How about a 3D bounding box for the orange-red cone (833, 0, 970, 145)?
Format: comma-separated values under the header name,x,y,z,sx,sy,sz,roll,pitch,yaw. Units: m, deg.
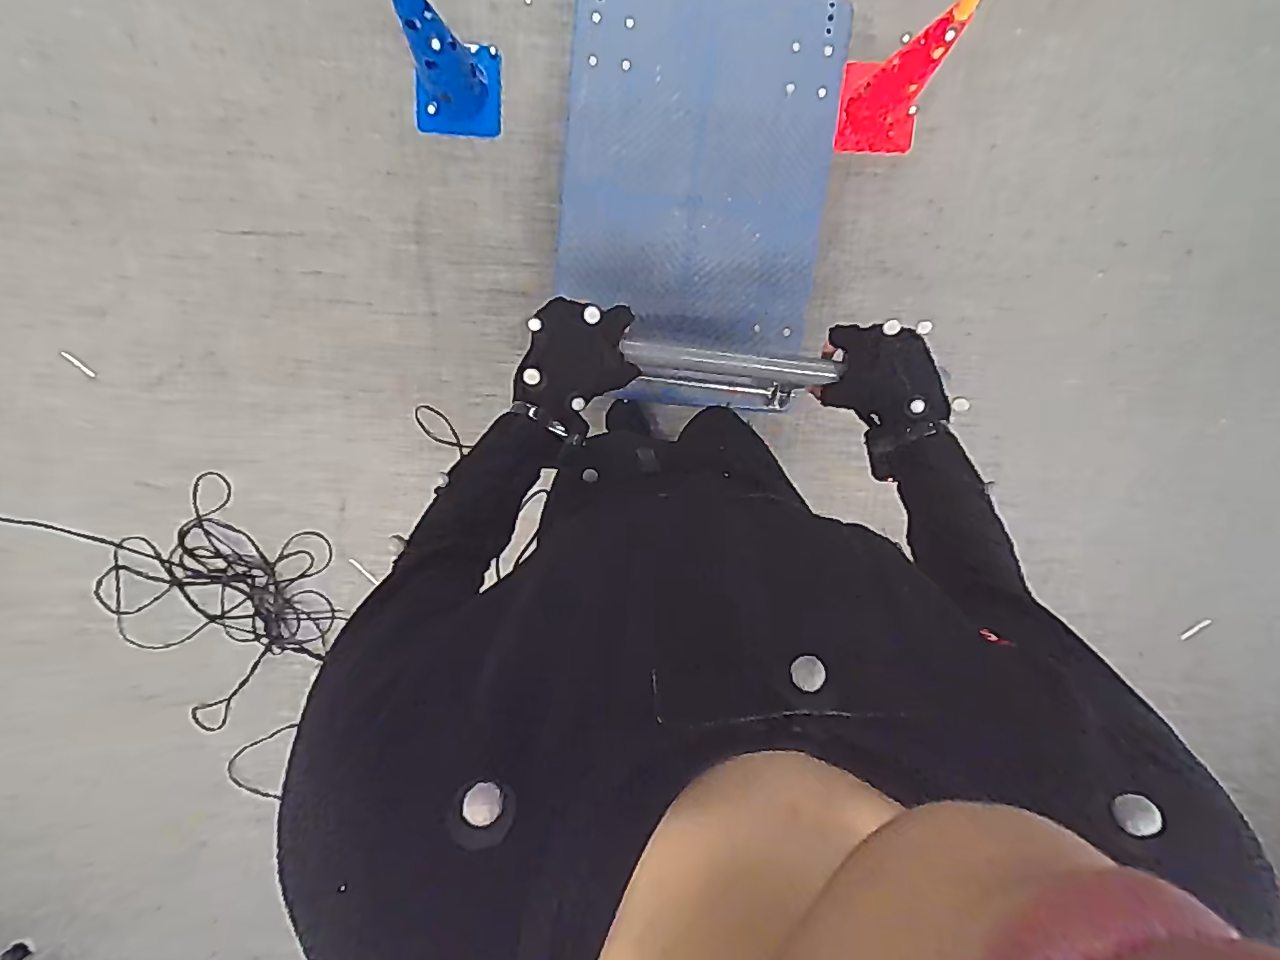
name,x,y,z,sx,sy,sz,roll,pitch,yaw
orange-red cone,0.578,-0.899,1.153,0.199,0.360,0.198,2,100,0
